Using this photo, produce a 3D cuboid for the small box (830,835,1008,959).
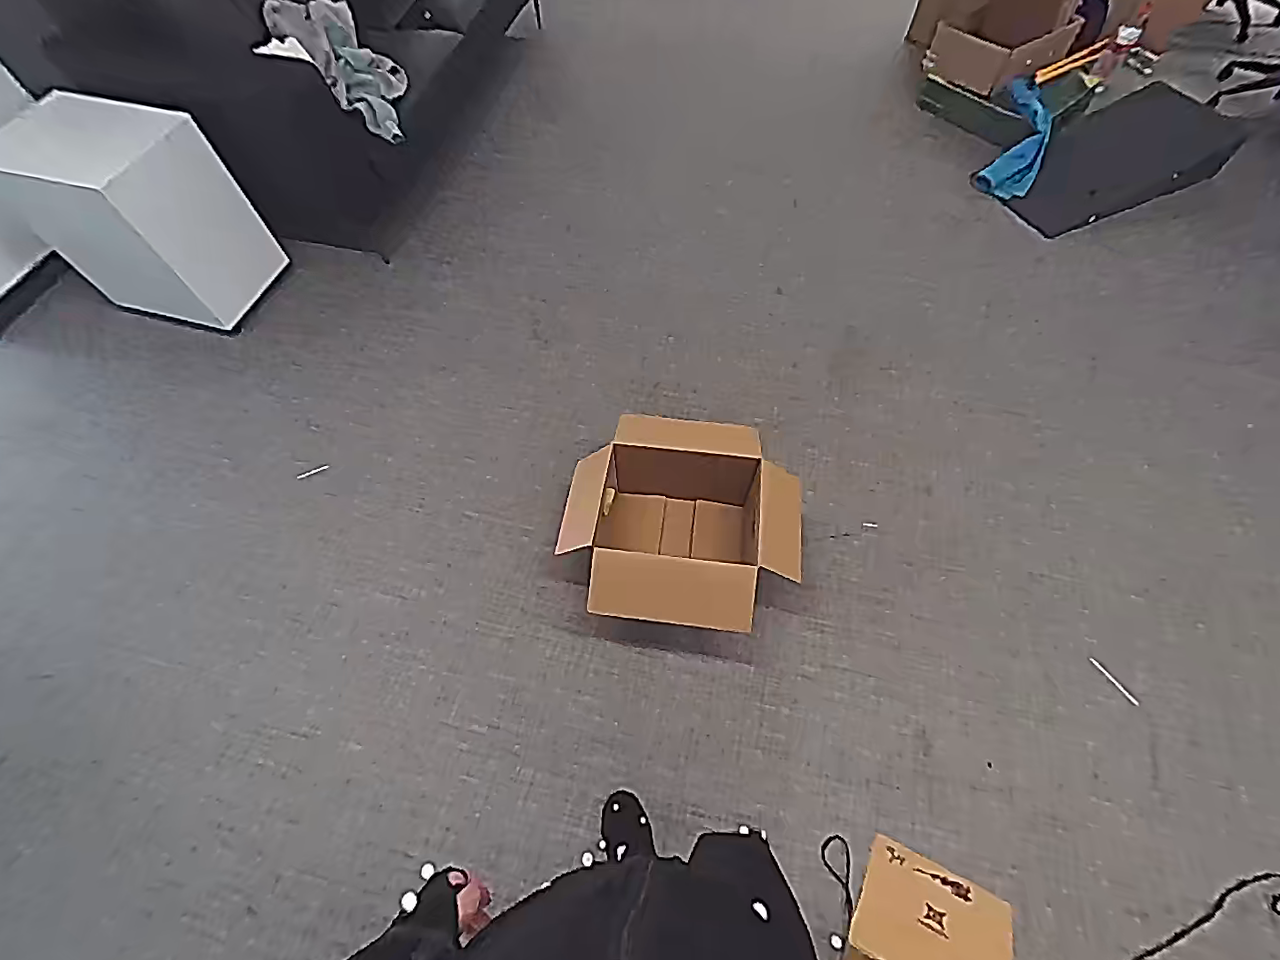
[{"bbox_3d":[0.338,0.615,0.678,0.168,0.176,0.179,18,21,32],"label":"small box"}]
